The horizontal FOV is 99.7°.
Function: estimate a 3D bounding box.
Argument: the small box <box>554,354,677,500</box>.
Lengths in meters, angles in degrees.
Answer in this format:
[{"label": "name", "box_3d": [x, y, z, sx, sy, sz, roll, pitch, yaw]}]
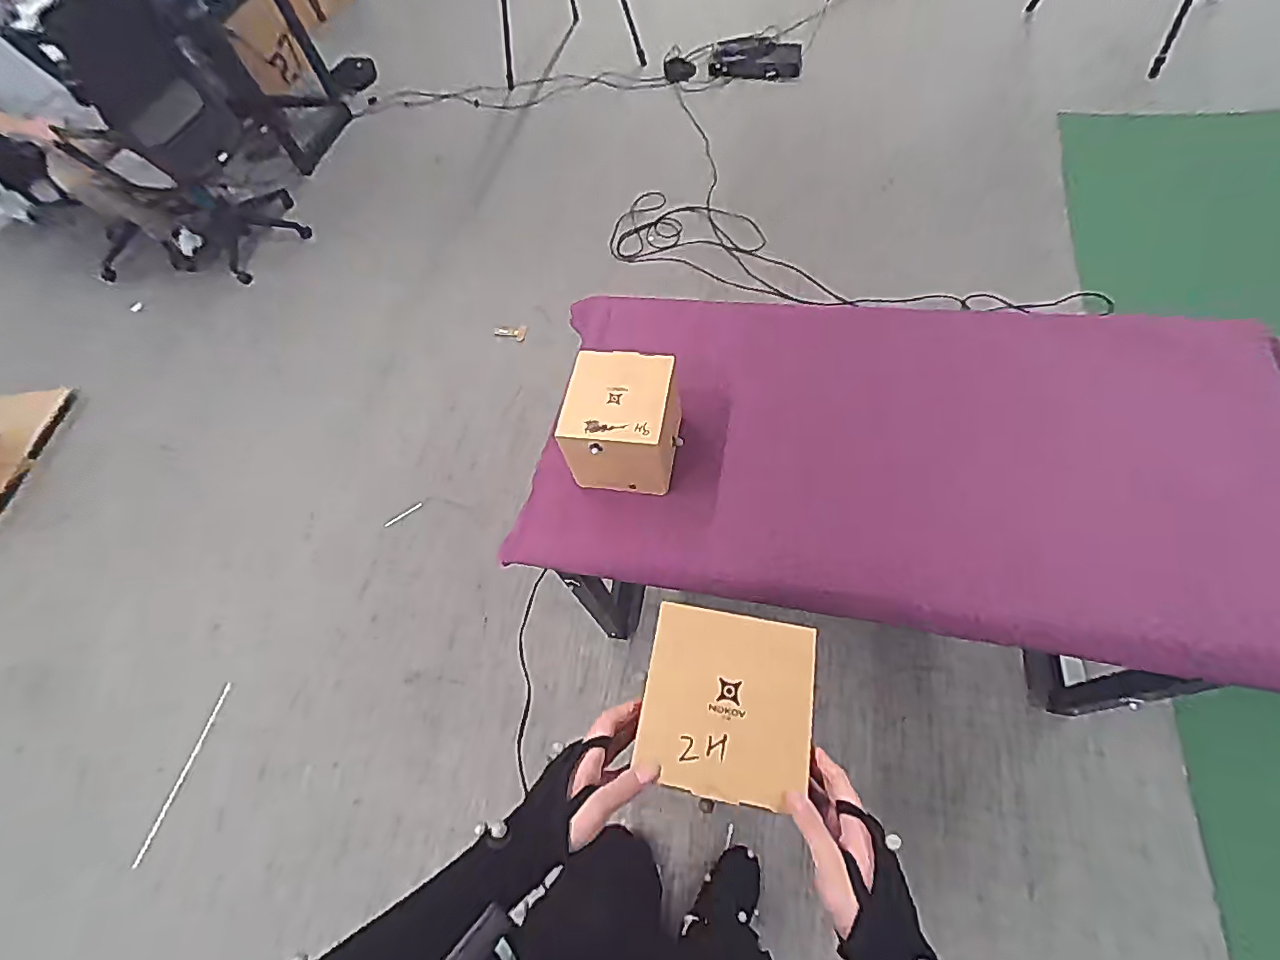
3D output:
[{"label": "small box", "box_3d": [-0.030, -0.088, 0.922, 0.168, 0.176, 0.179, 6, 61, 11]}]

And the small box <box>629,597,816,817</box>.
[{"label": "small box", "box_3d": [0.089, 0.252, 0.601, 0.168, 0.176, 0.179, 9, 62, 9]}]
